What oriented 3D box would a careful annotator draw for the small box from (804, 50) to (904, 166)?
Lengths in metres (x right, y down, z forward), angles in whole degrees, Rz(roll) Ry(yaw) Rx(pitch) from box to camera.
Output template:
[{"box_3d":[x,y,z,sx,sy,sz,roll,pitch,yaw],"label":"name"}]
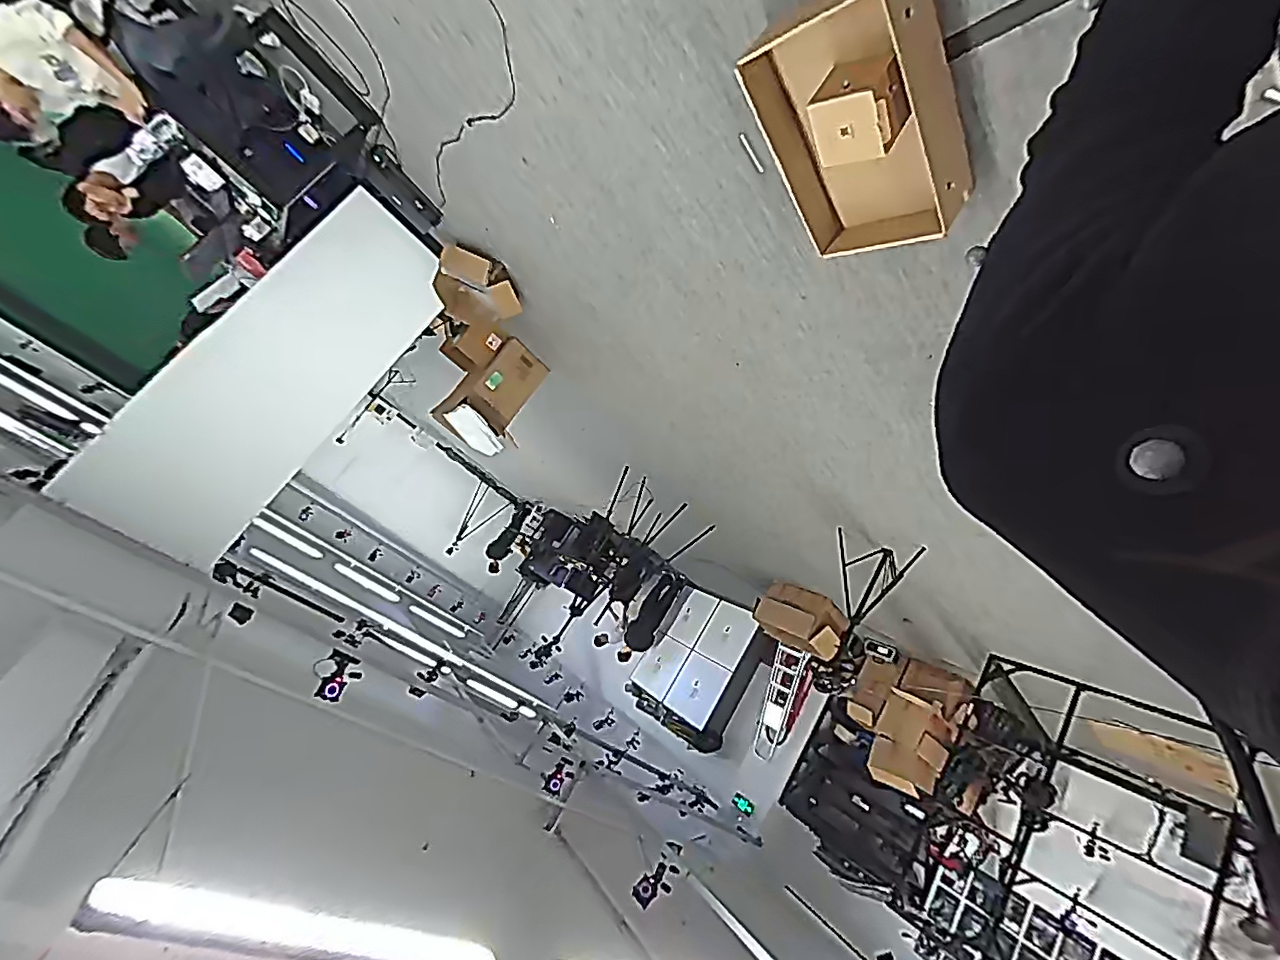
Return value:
[{"box_3d":[0.546,-0.935,1.364,0.179,0.176,0.168,18,159,42],"label":"small box"}]
